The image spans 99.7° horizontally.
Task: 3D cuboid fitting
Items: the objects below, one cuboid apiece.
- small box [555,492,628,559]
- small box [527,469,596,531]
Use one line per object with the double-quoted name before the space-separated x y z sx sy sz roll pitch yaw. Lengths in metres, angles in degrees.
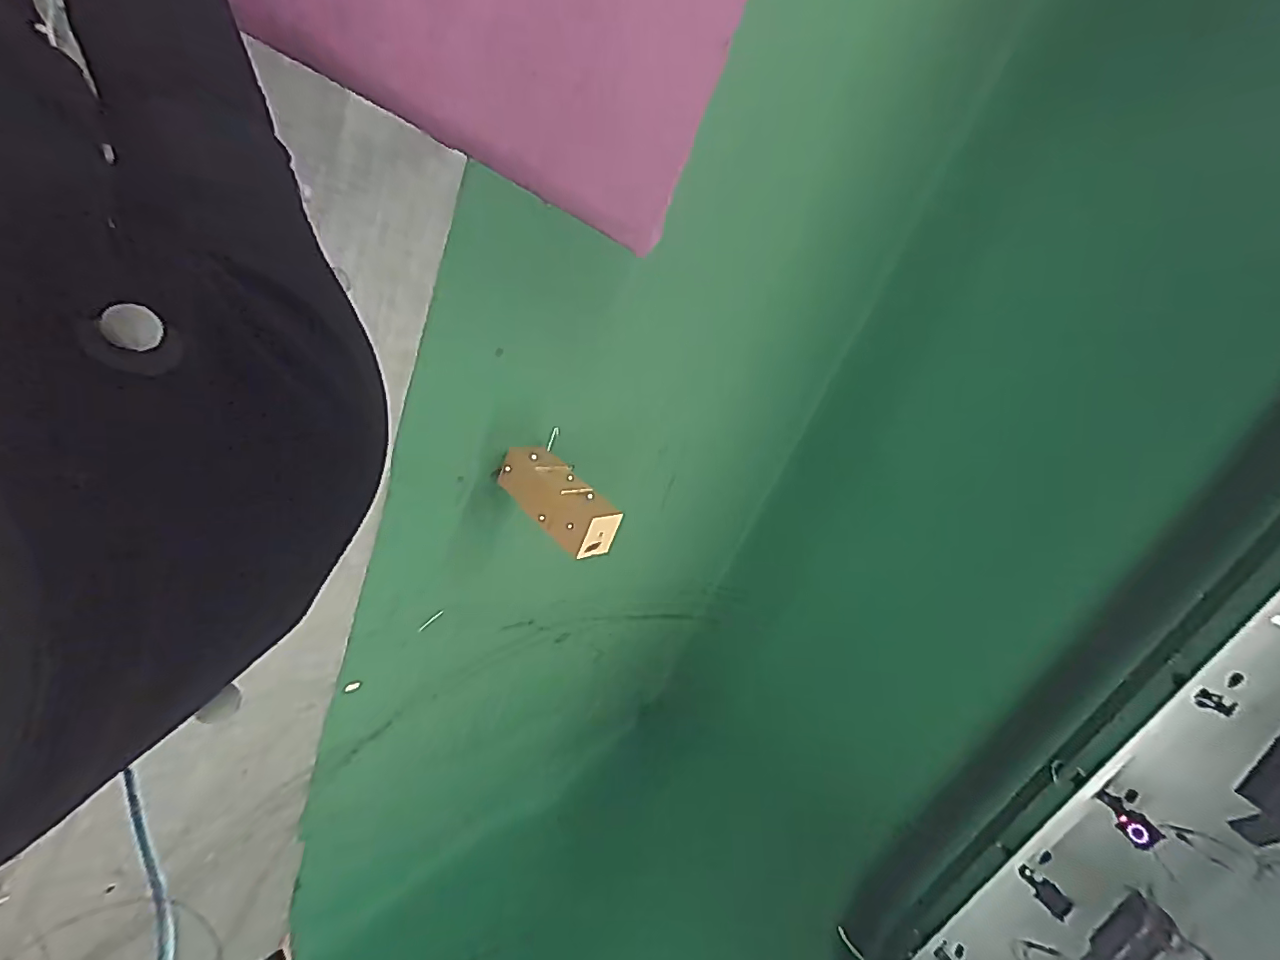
"small box" -0.181 0.159 1.955 0.168 0.176 0.179 -3 124 -54
"small box" -0.300 0.068 2.030 0.168 0.176 0.179 -3 124 -51
